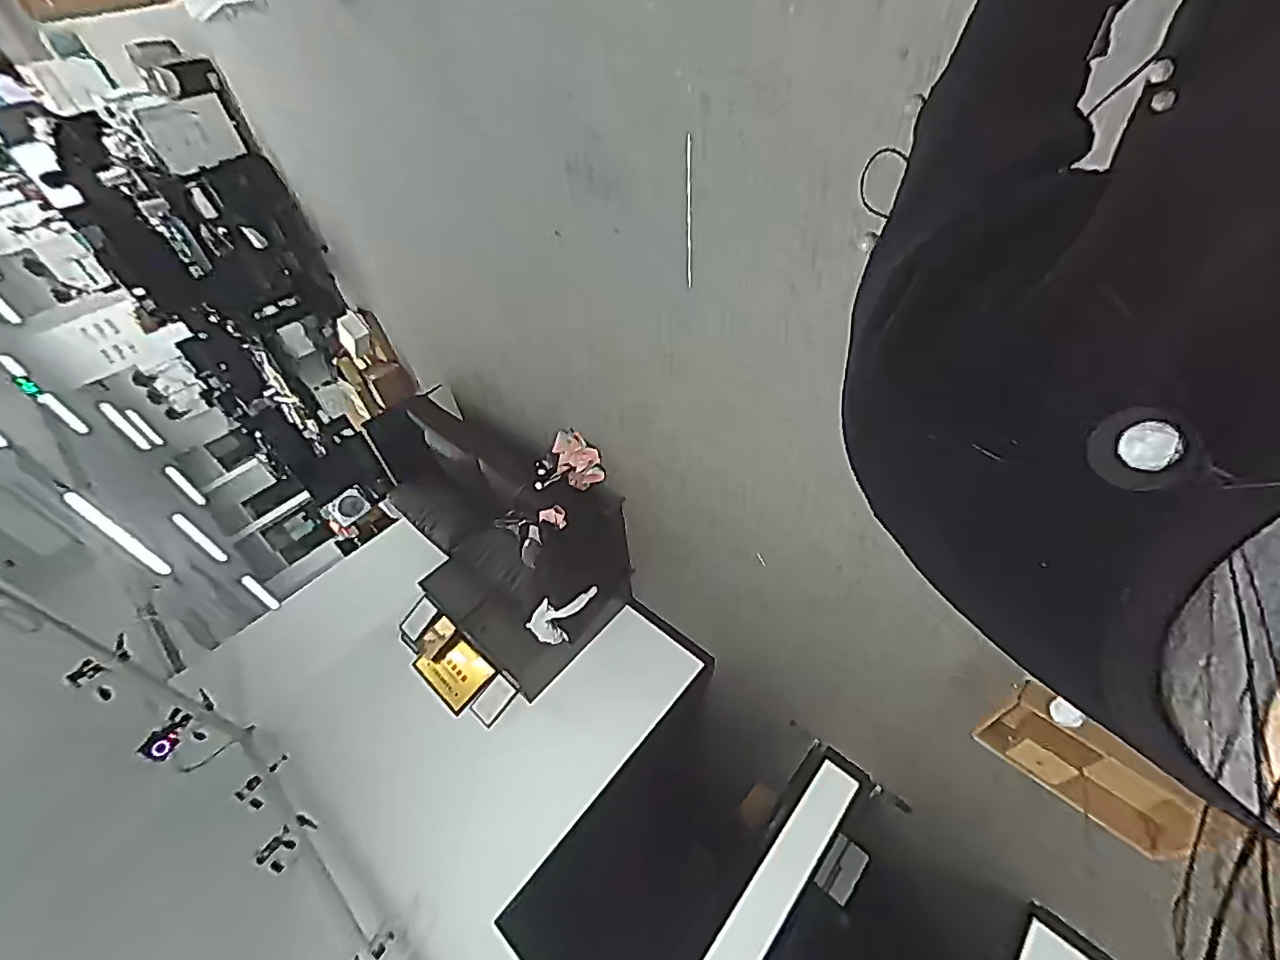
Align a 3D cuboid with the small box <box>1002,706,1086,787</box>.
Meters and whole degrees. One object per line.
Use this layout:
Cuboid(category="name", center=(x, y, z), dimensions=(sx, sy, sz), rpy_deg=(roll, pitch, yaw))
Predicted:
Cuboid(category="small box", center=(1.448, 0.950, 1.934), dimensions=(0.168, 0.176, 0.179), rpy_deg=(32, 146, 27))
